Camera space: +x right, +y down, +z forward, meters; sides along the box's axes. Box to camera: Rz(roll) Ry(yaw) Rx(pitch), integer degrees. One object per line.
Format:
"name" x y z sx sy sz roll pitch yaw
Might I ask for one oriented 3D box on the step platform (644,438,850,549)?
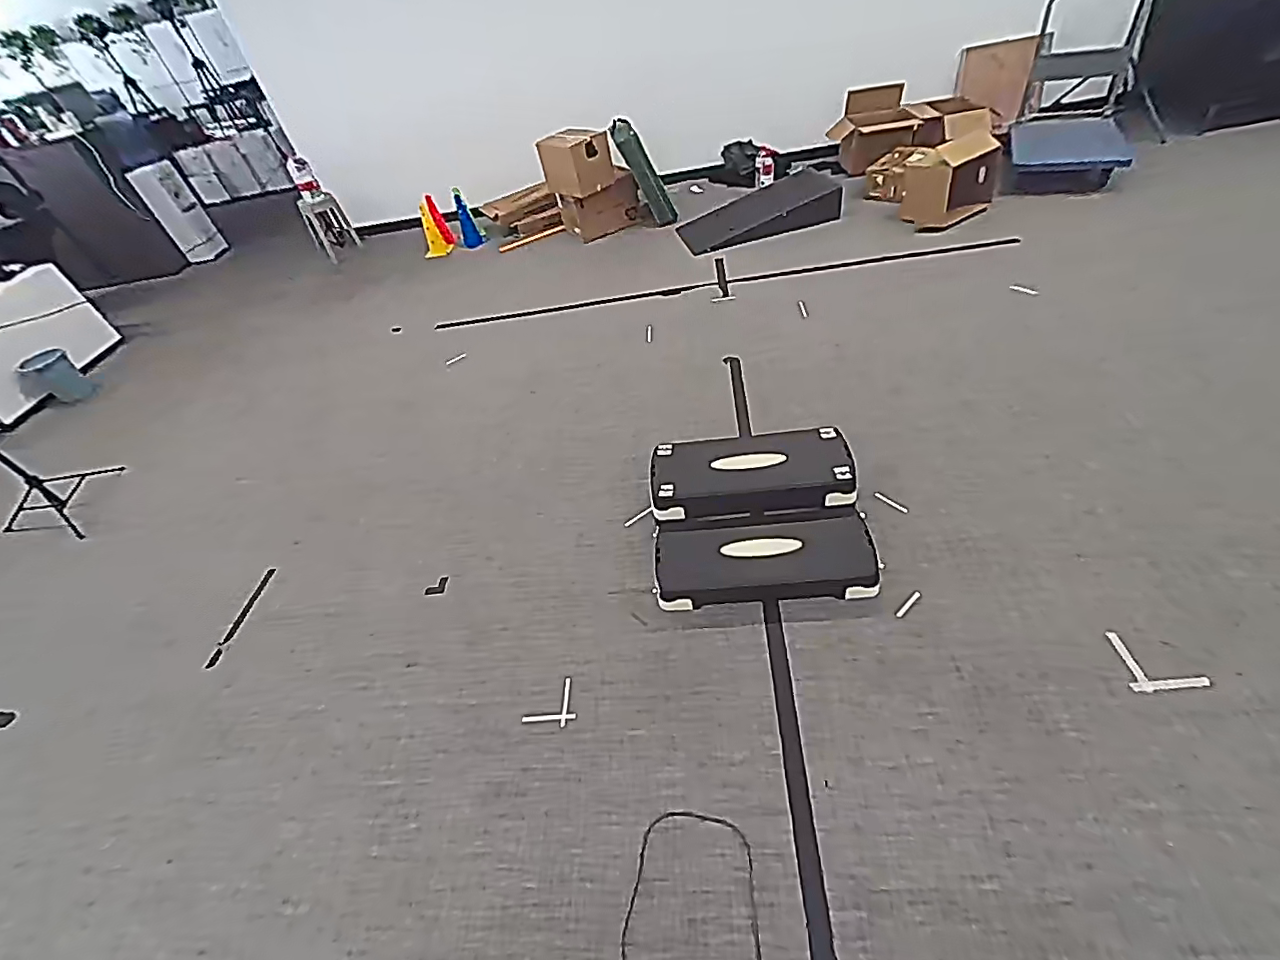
"step platform" 0.356 0.042 1.861 0.684 0.204 0.286 -6 45 6
